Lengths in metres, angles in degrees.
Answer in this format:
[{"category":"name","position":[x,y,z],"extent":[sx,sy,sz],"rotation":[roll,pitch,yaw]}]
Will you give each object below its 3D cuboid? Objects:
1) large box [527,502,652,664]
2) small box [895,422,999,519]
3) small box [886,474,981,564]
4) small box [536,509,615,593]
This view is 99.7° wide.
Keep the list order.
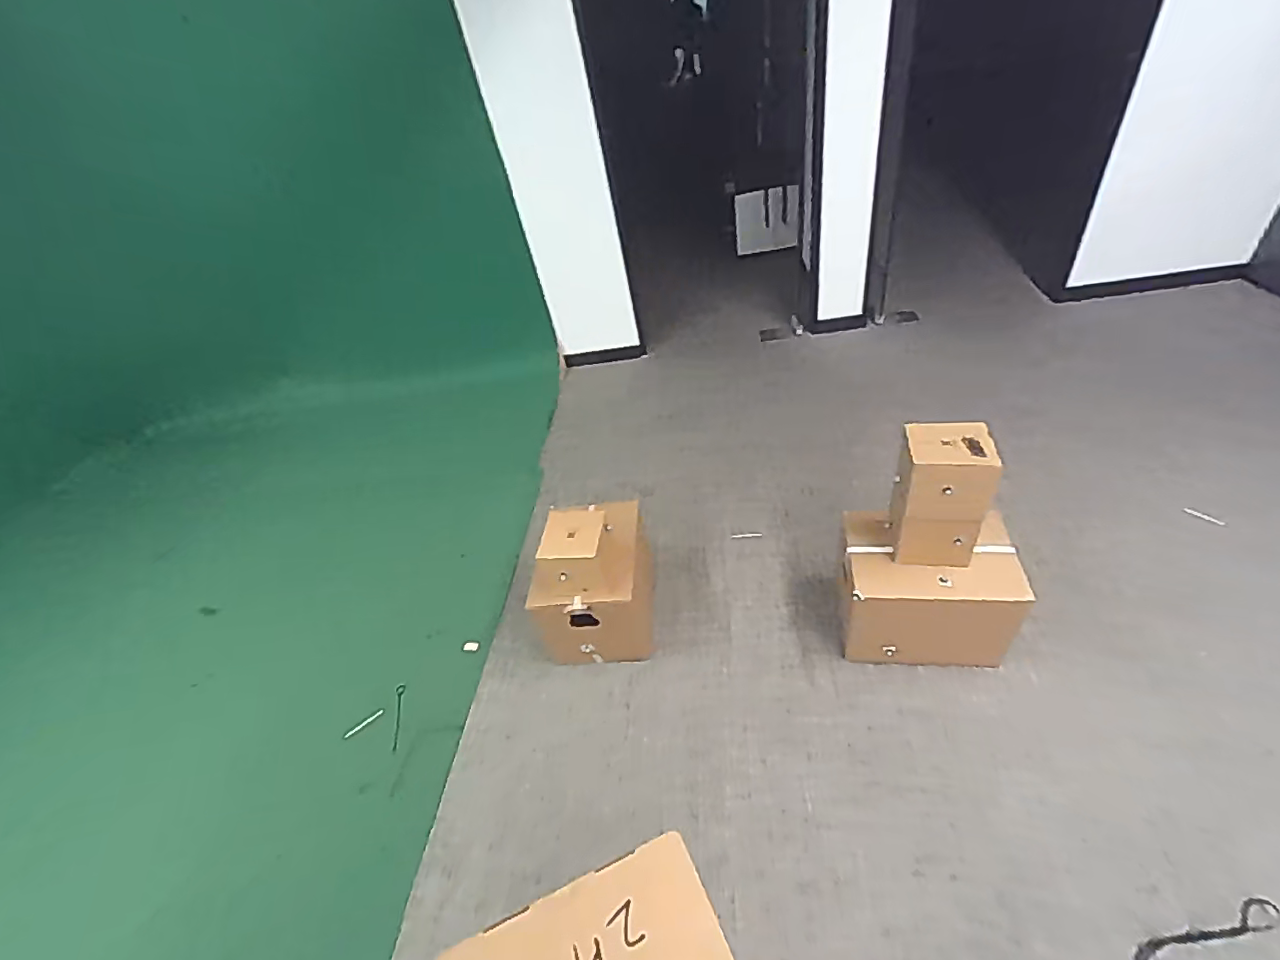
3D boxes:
[{"category":"large box","position":[-0.139,0.330,1.752],"extent":[0.320,0.320,0.408],"rotation":[-6,40,9]},{"category":"small box","position":[0.721,-0.022,1.289],"extent":[0.179,0.176,0.168],"rotation":[1,40,17]},{"category":"small box","position":[0.748,0.101,1.395],"extent":[0.179,0.176,0.168],"rotation":[0,40,16]},{"category":"small box","position":[-0.173,0.205,1.526],"extent":[0.168,0.176,0.179],"rotation":[-3,40,11]}]
